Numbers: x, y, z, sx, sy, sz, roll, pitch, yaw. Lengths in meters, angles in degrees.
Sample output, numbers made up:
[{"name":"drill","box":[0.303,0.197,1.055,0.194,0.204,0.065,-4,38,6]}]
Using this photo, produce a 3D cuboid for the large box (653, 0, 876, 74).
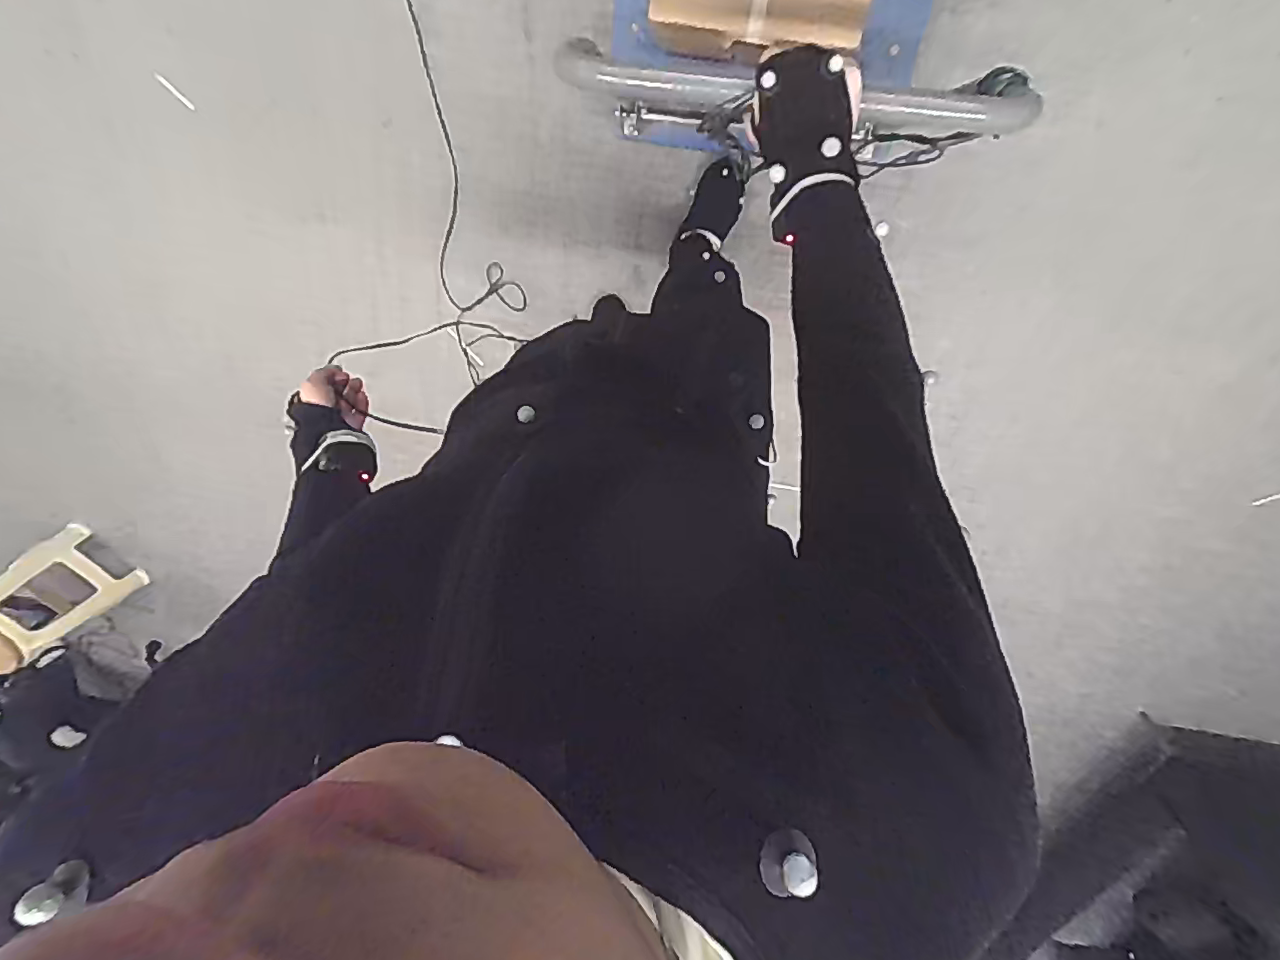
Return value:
[{"name":"large box","box":[0.210,-0.885,0.806,0.320,0.320,0.408,10,122,1]}]
